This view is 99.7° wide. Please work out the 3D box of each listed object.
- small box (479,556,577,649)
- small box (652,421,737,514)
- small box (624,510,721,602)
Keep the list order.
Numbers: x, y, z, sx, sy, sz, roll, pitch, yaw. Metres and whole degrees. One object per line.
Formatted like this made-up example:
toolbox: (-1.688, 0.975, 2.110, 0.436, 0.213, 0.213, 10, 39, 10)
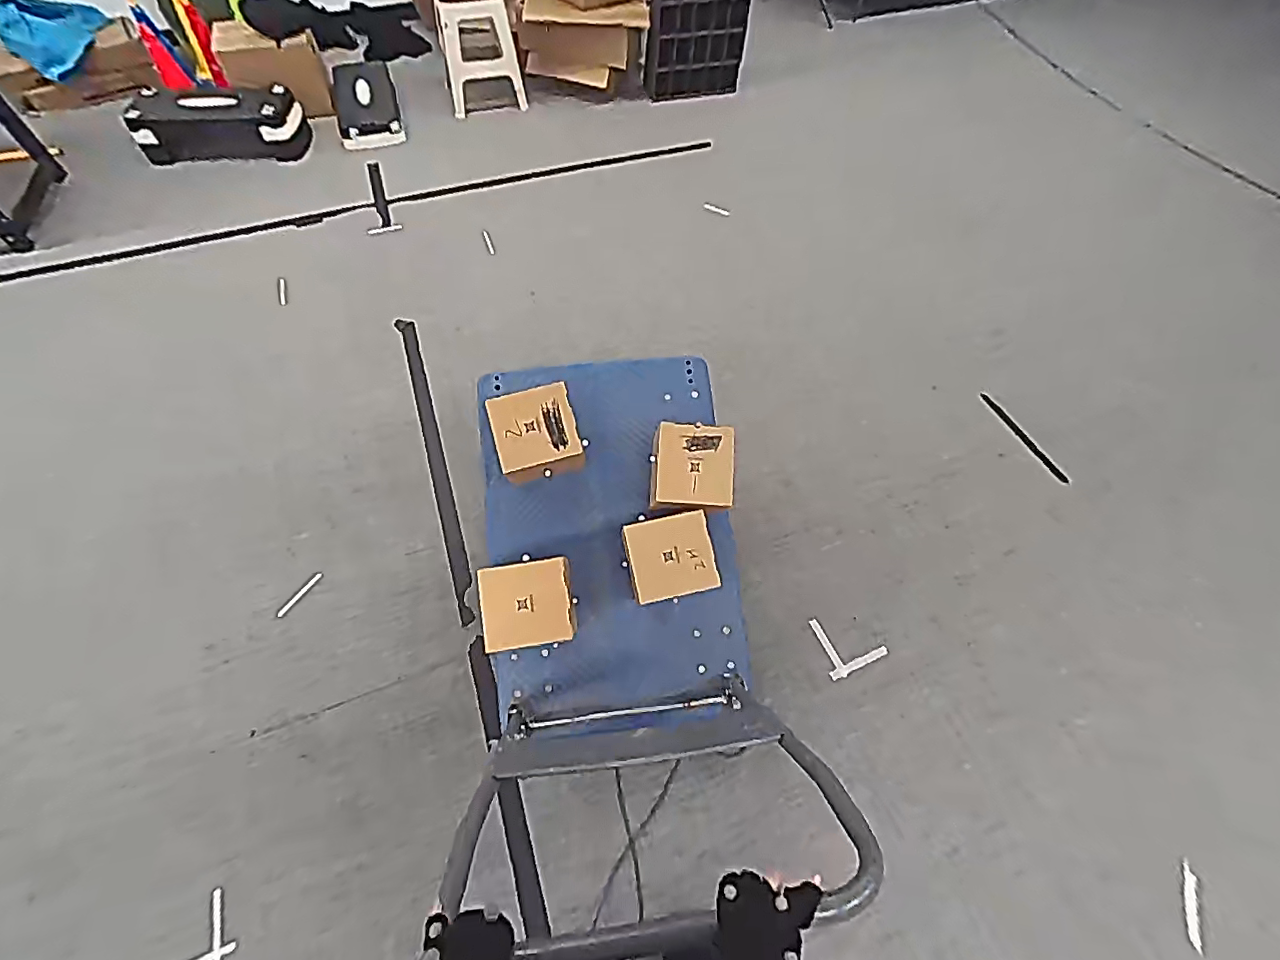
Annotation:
small box: (-0.234, 0.260, 1.164, 0.179, 0.176, 0.168, -8, 81, -6)
small box: (0.118, -0.023, 1.232, 0.168, 0.176, 0.179, 4, 81, -2)
small box: (0.064, 0.170, 1.196, 0.179, 0.176, 0.168, -11, 81, -5)
